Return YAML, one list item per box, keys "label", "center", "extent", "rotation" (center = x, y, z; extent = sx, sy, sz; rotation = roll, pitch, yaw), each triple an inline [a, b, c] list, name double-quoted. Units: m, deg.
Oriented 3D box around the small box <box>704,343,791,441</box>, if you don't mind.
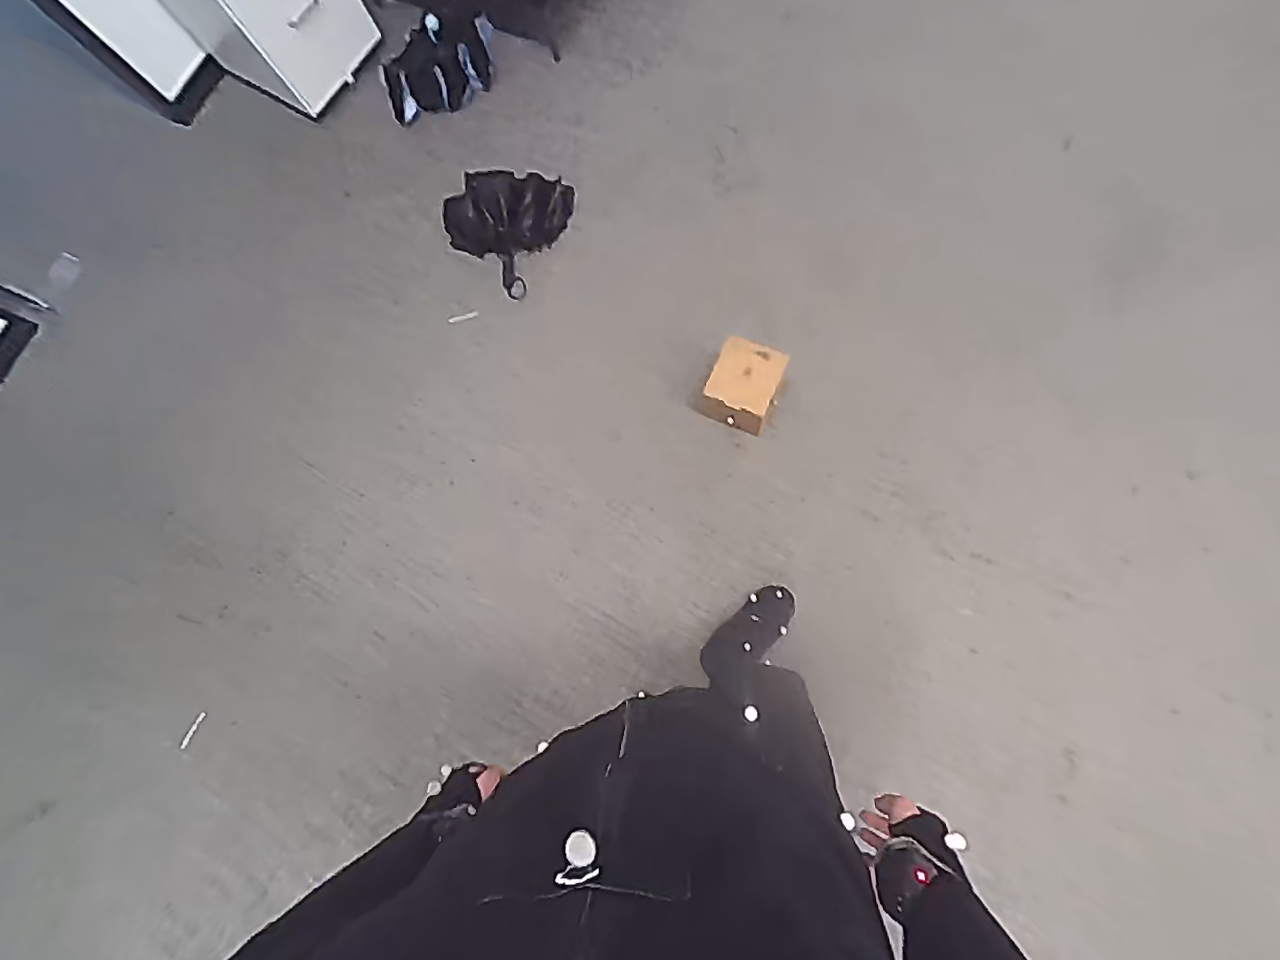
- label: "small box"
  center: [0.282, -0.224, 1.418]
  extent: [0.168, 0.176, 0.179]
  rotation: [24, 81, 14]
